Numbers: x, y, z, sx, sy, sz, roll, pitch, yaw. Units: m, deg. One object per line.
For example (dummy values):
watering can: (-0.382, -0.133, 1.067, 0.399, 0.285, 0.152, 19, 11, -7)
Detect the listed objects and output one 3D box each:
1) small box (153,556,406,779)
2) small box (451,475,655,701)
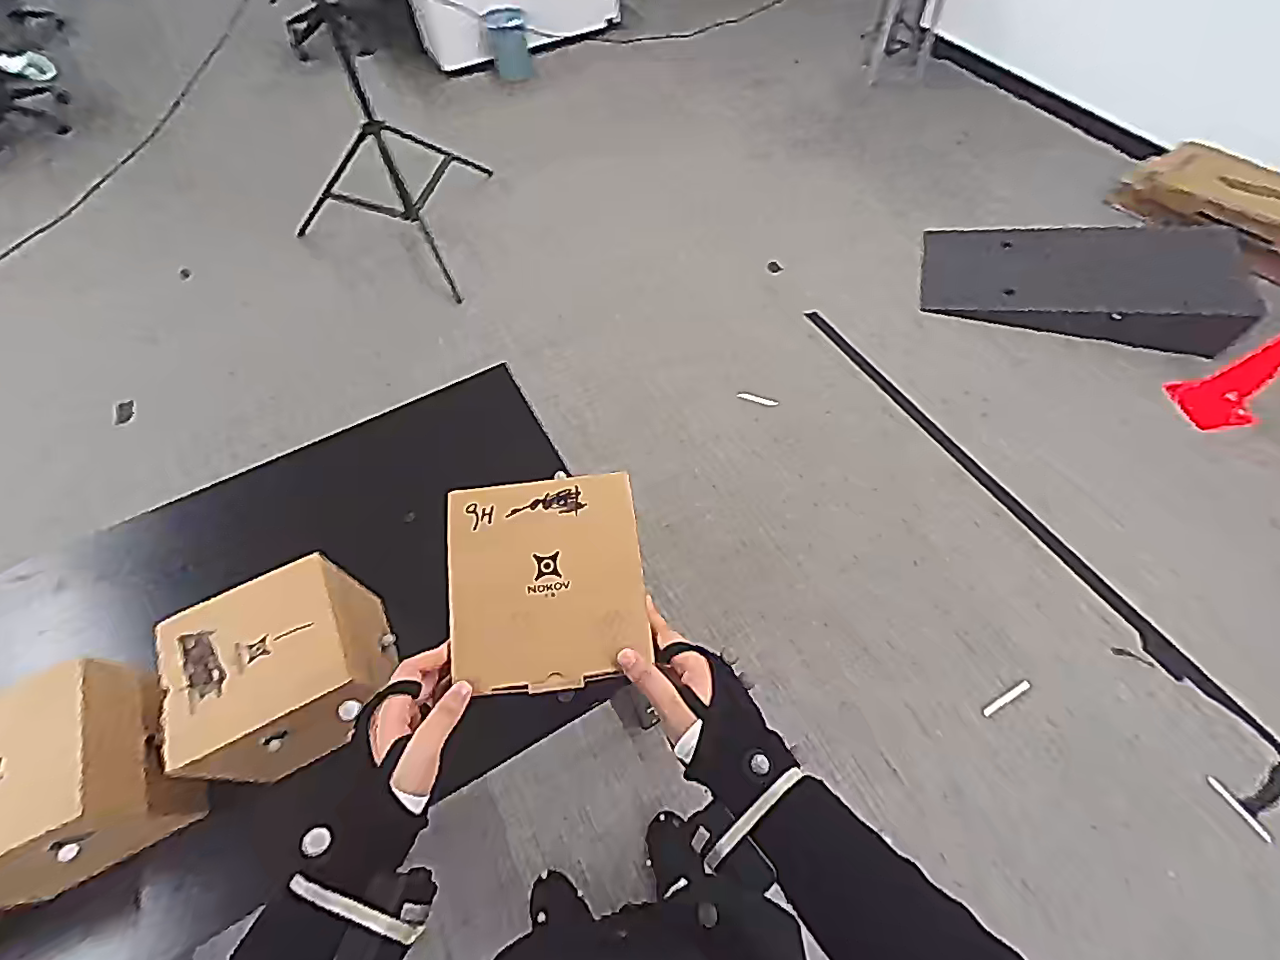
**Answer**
small box: (-0.405, 0.223, 0.627, 0.179, 0.176, 0.168, -26, 61, -14)
small box: (-0.078, 0.109, 0.531, 0.168, 0.176, 0.179, -6, 72, -4)
